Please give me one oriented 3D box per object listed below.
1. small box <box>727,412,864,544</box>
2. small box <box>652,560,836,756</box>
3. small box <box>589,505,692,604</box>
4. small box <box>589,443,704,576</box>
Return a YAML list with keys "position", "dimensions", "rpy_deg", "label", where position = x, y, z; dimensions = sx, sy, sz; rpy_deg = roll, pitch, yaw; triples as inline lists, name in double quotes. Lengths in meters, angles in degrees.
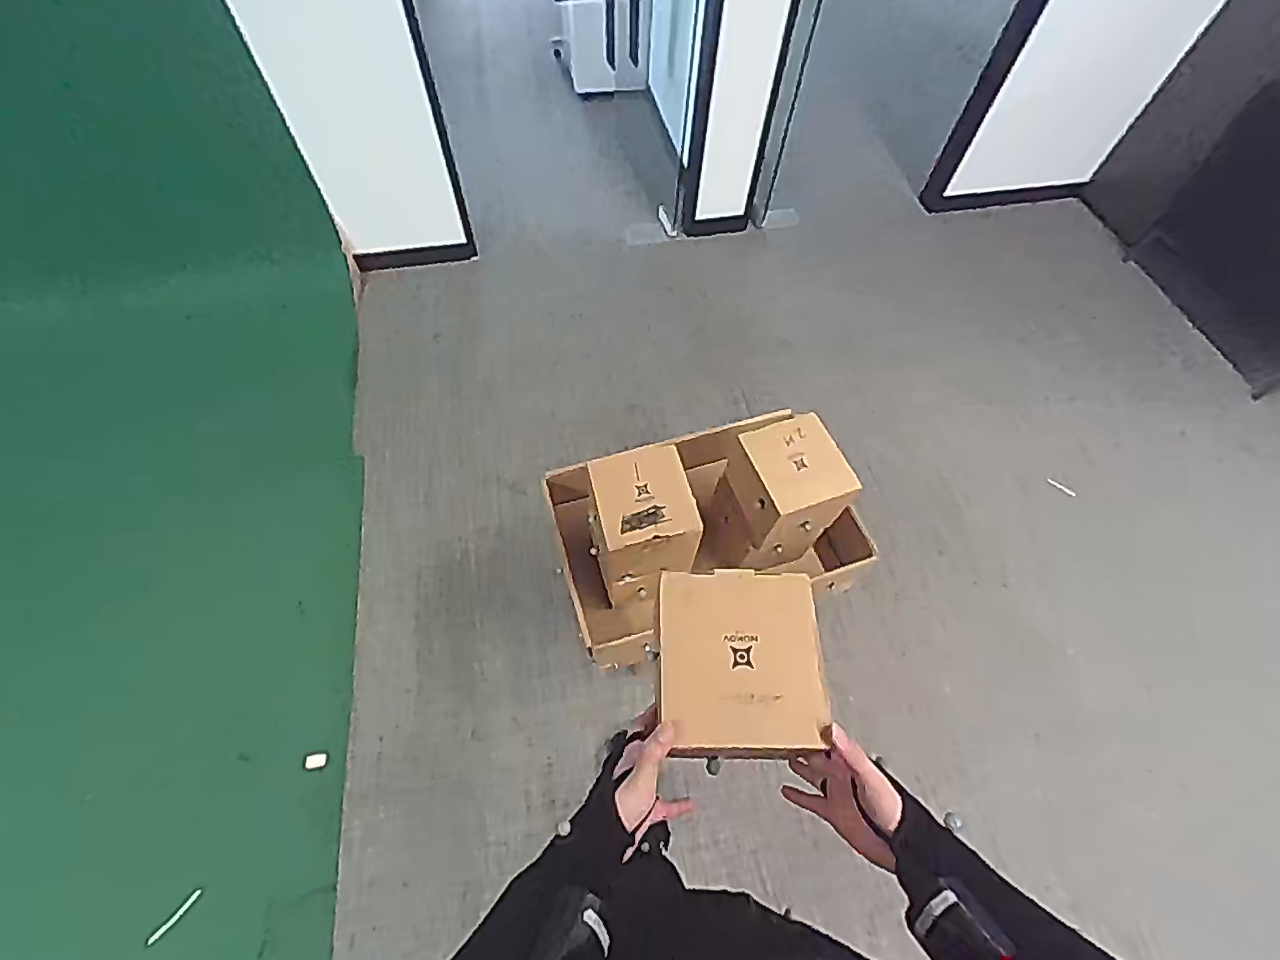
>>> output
- position: [0.282, 0.005, 1.022]
  dimensions: [0.168, 0.176, 0.179]
  rpy_deg: [-16, 63, -12]
  label: "small box"
- position: [0.100, 0.204, 0.606]
  dimensions: [0.168, 0.176, 0.179]
  rpy_deg: [2, 60, 0]
  label: "small box"
- position: [-0.001, 0.144, 1.121]
  dimensions: [0.168, 0.176, 0.179]
  rpy_deg: [-15, 62, -10]
  label: "small box"
- position: [0.007, 0.061, 0.979]
  dimensions: [0.168, 0.176, 0.179]
  rpy_deg: [-11, 60, -8]
  label: "small box"
